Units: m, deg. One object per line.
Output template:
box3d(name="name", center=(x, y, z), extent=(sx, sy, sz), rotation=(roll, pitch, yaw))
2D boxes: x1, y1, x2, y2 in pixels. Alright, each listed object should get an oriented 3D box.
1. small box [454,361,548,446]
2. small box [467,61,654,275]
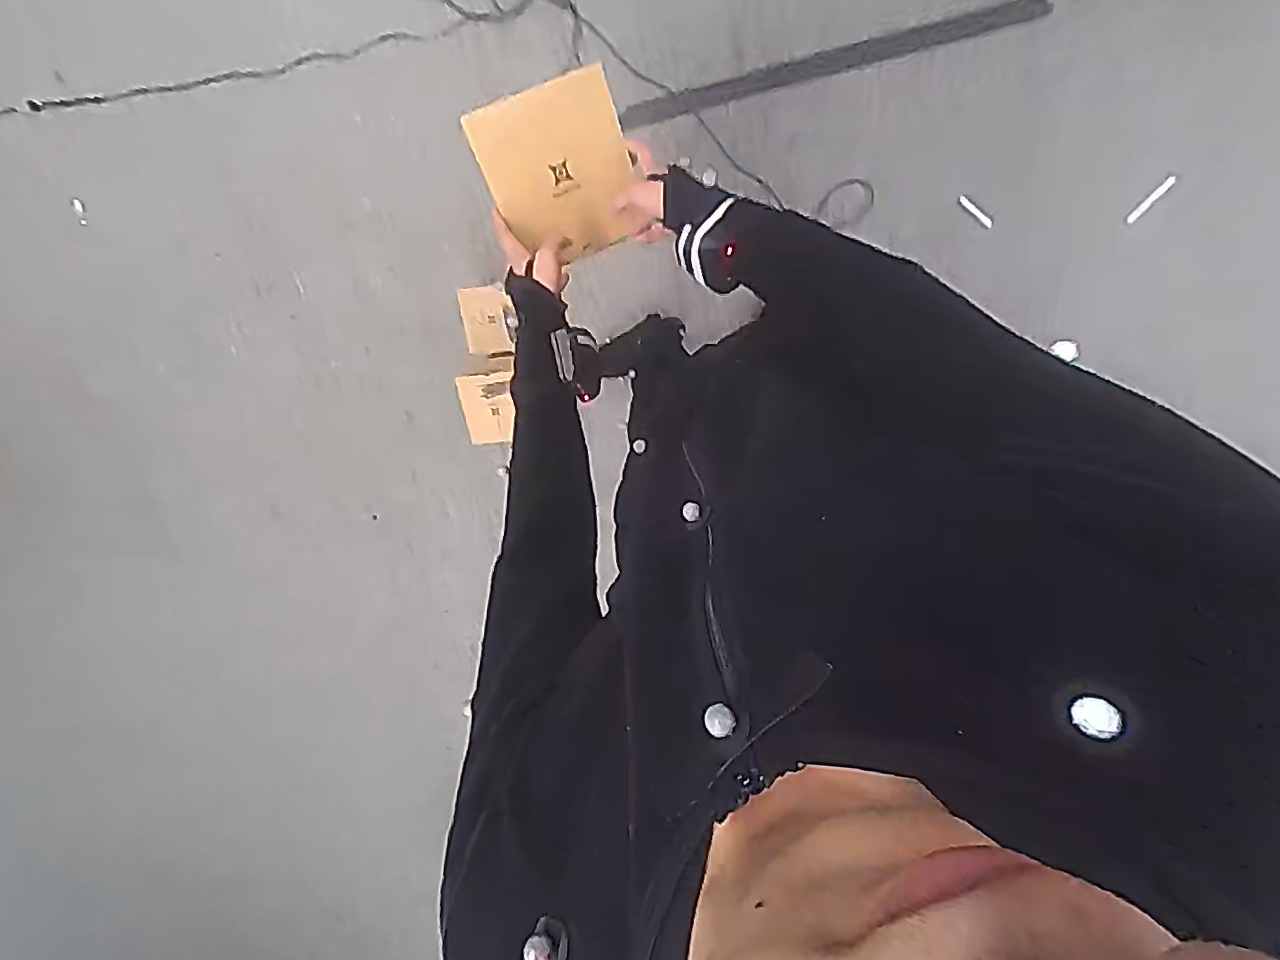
box3d(name="small box", center=(-0.346, -0.201, 1.378), extent=(0.168, 0.176, 0.179), rotation=(-5, 114, 8))
box3d(name="small box", center=(-0.103, -0.380, 0.680), extent=(0.168, 0.176, 0.179), rotation=(-23, 120, -3))
